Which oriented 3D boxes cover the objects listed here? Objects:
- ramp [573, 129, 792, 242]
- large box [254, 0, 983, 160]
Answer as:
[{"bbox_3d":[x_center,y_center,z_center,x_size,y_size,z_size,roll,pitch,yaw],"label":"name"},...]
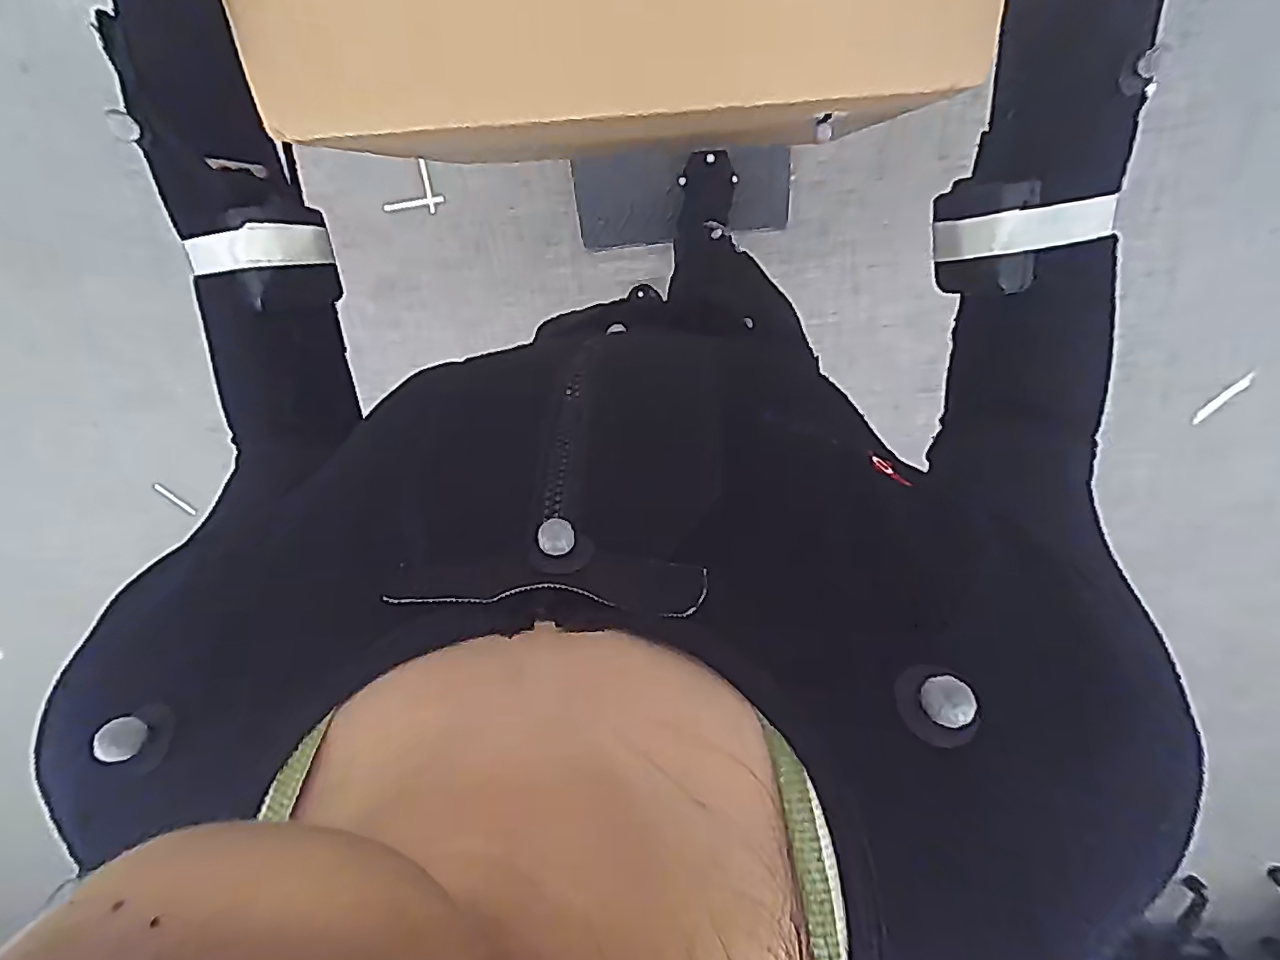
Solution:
[{"bbox_3d":[0.052,-1.019,1.037,0.509,0.206,0.991,-6,112,6],"label":"ramp"},{"bbox_3d":[-0.014,-0.421,0.376,0.408,0.320,0.320,-1,117,5],"label":"large box"}]
